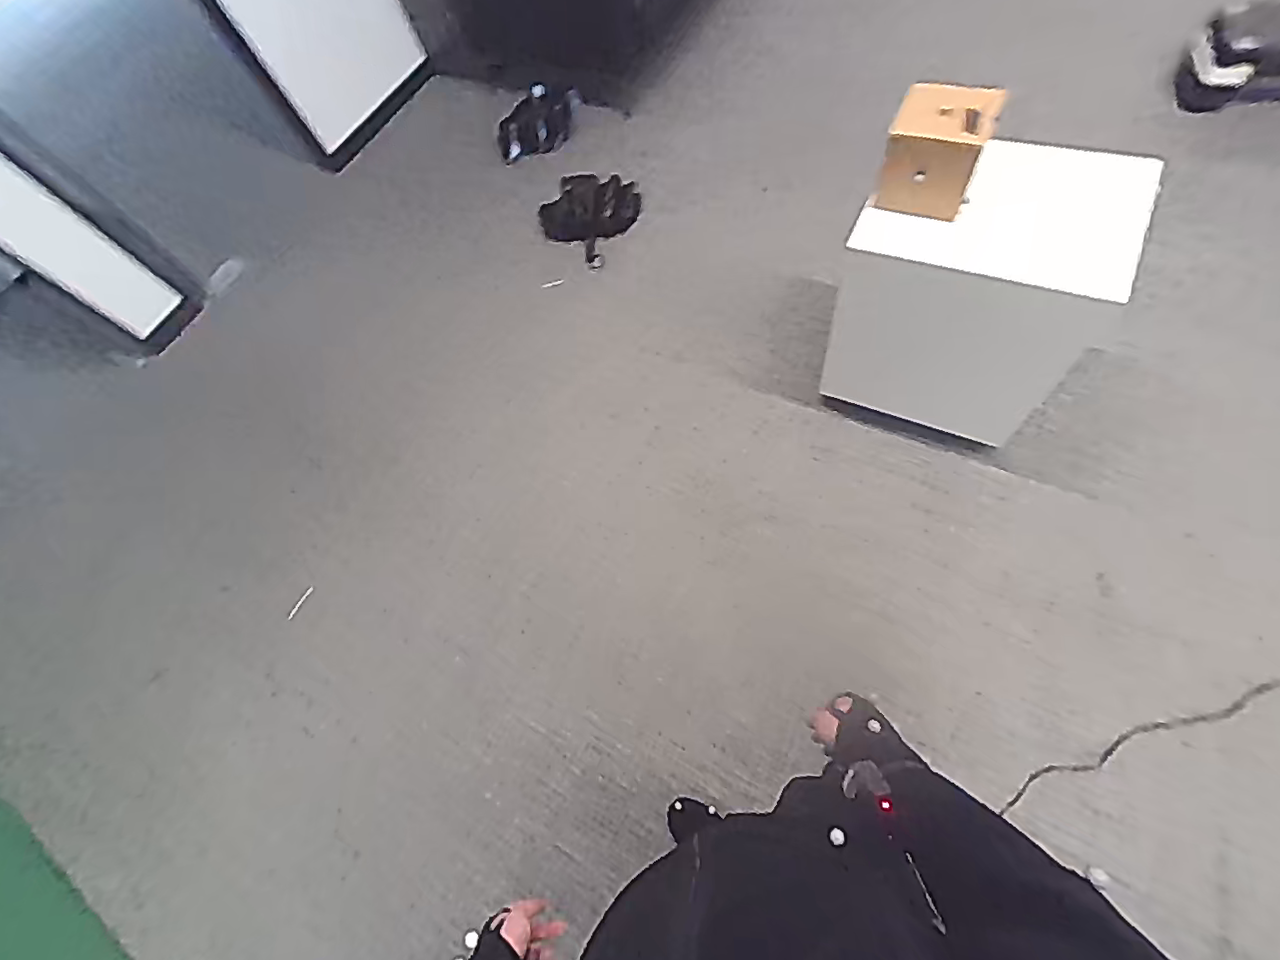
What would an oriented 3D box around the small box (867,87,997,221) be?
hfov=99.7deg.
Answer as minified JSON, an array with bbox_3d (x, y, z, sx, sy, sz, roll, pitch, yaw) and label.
[{"bbox_3d":[0.592,-0.667,1.116,0.179,0.176,0.168,21,70,20],"label":"small box"}]
